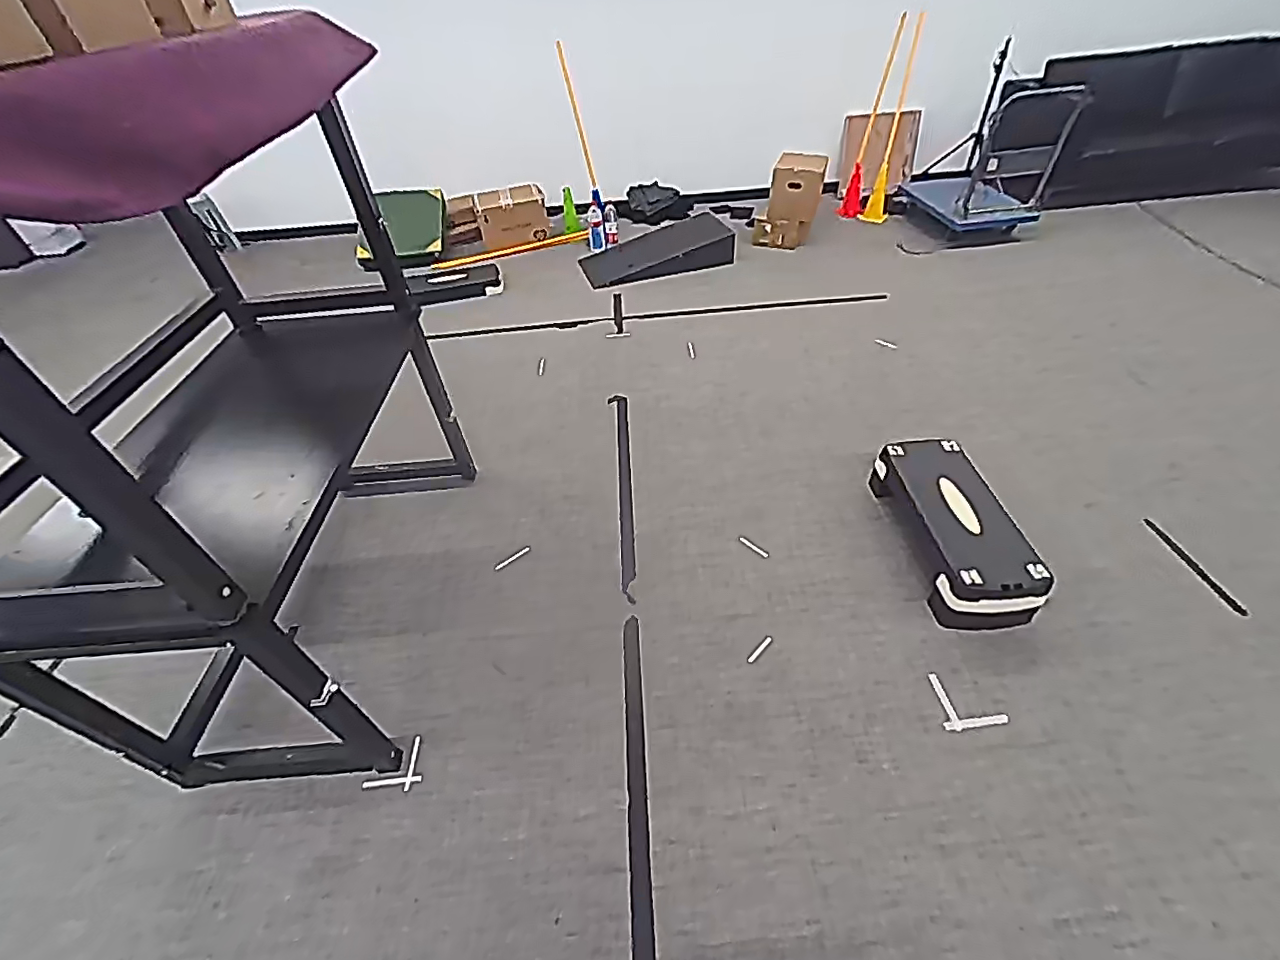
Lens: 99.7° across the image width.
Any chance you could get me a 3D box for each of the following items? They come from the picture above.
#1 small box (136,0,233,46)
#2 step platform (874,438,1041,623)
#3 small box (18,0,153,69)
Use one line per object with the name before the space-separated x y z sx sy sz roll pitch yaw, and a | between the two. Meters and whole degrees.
small box | -0.964 -0.980 1.077 0.168 0.176 0.179 -4 43 2
step platform | 1.033 0.134 1.826 0.286 0.204 0.684 -1 43 4
small box | -0.908 -0.740 0.822 0.168 0.176 0.179 -1 44 5
